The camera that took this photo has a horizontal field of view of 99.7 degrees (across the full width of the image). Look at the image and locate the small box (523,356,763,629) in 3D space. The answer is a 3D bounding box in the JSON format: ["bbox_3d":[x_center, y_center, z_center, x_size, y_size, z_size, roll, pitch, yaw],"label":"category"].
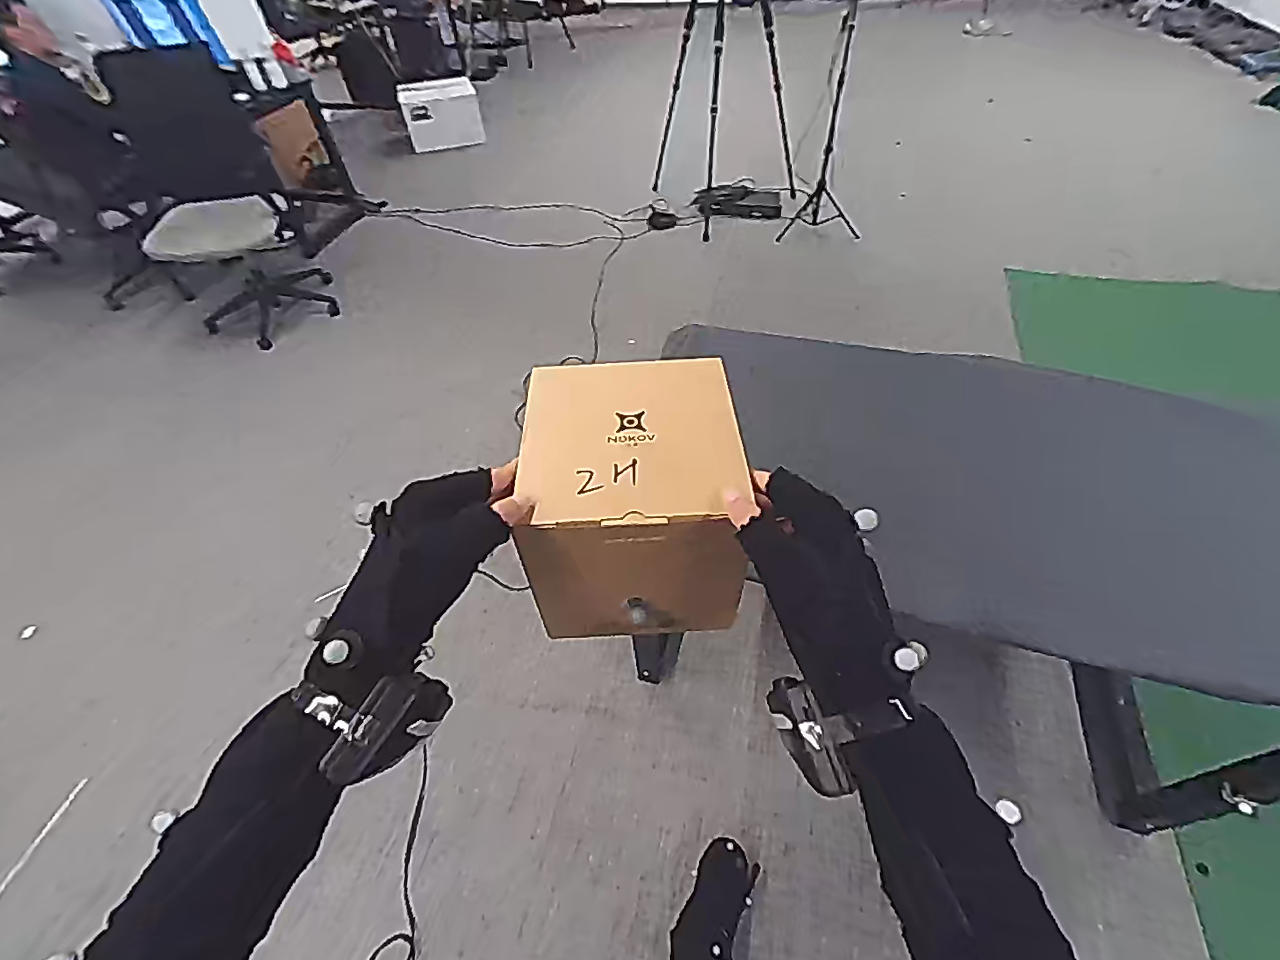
[{"bbox_3d":[0.002,0.012,0.477,0.168,0.176,0.179,-3,48,1],"label":"small box"}]
